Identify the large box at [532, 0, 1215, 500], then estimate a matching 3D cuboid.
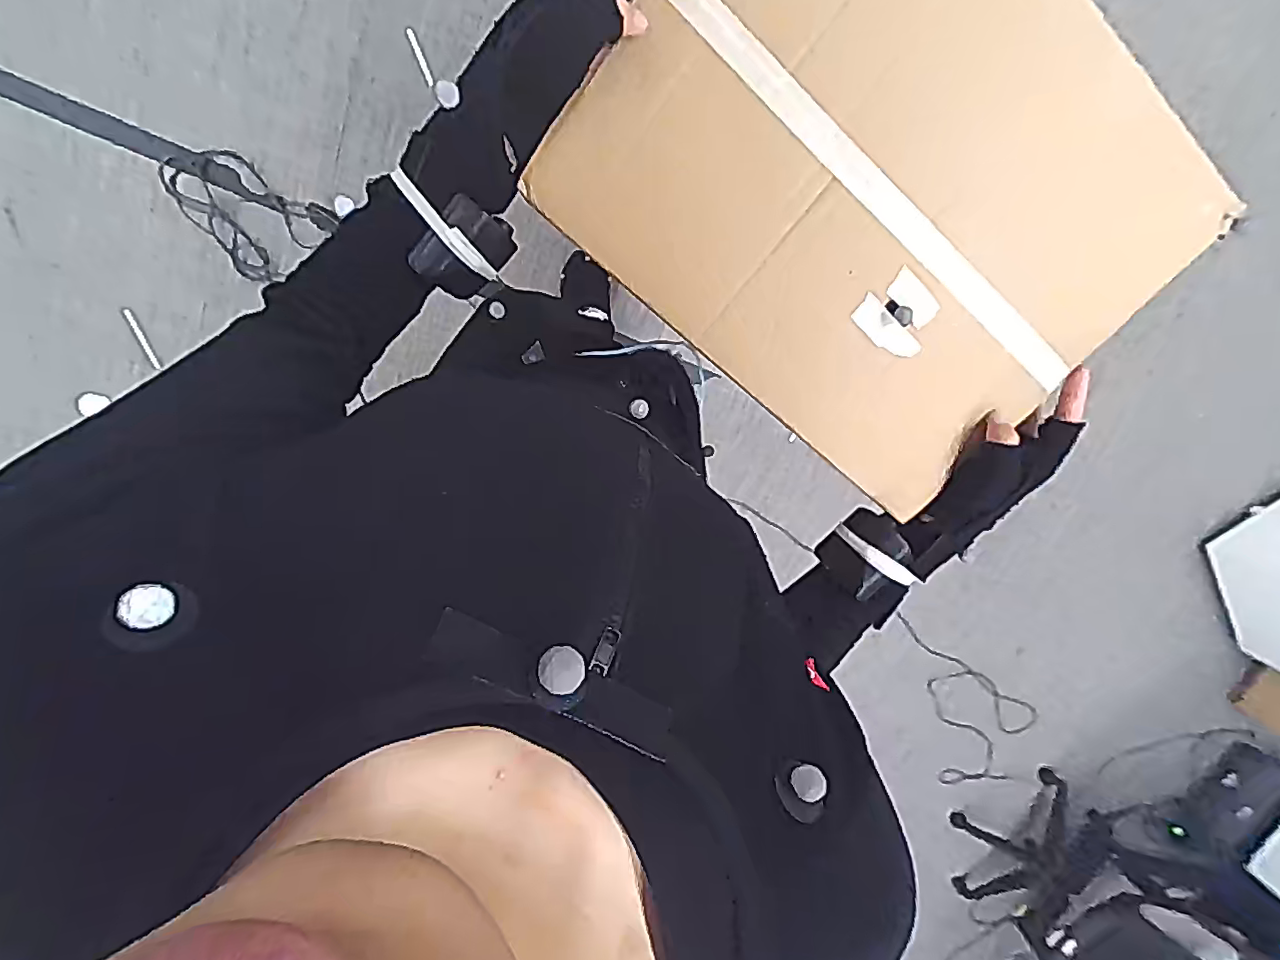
[{"bbox_3d":[0.167,-0.257,0.525,0.408,0.320,0.320,37,108,-14],"label":"large box"}]
